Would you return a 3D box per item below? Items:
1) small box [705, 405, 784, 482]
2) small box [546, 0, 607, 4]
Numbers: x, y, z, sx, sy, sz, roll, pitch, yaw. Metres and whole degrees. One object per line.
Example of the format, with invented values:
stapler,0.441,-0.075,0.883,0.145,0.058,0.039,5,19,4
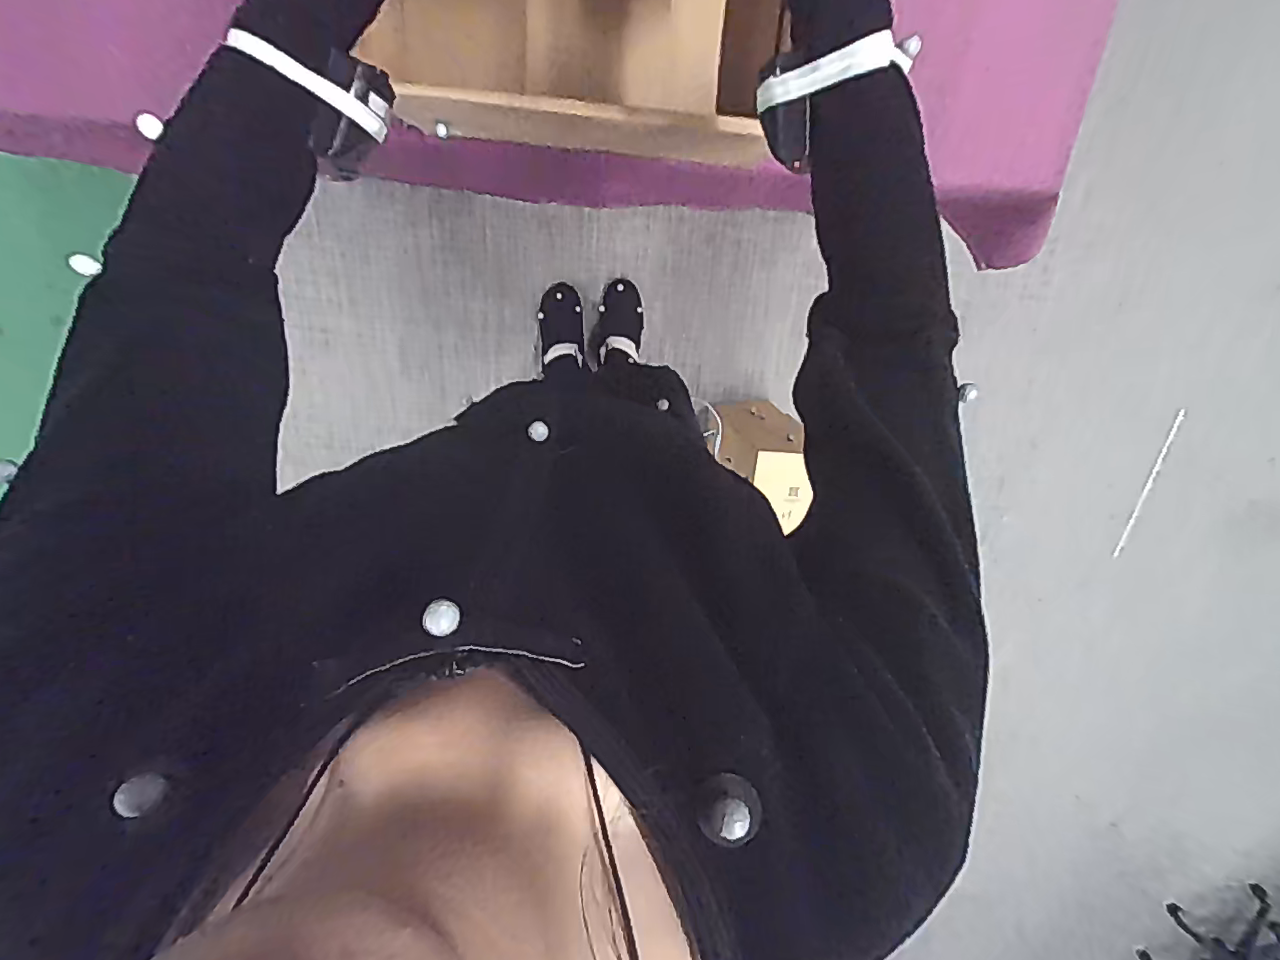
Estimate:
small box,0.273,-0.102,1.450,0.179,0.176,0.168,-2,112,-3
small box,-0.022,-0.479,0.379,0.168,0.176,0.179,-2,115,2
